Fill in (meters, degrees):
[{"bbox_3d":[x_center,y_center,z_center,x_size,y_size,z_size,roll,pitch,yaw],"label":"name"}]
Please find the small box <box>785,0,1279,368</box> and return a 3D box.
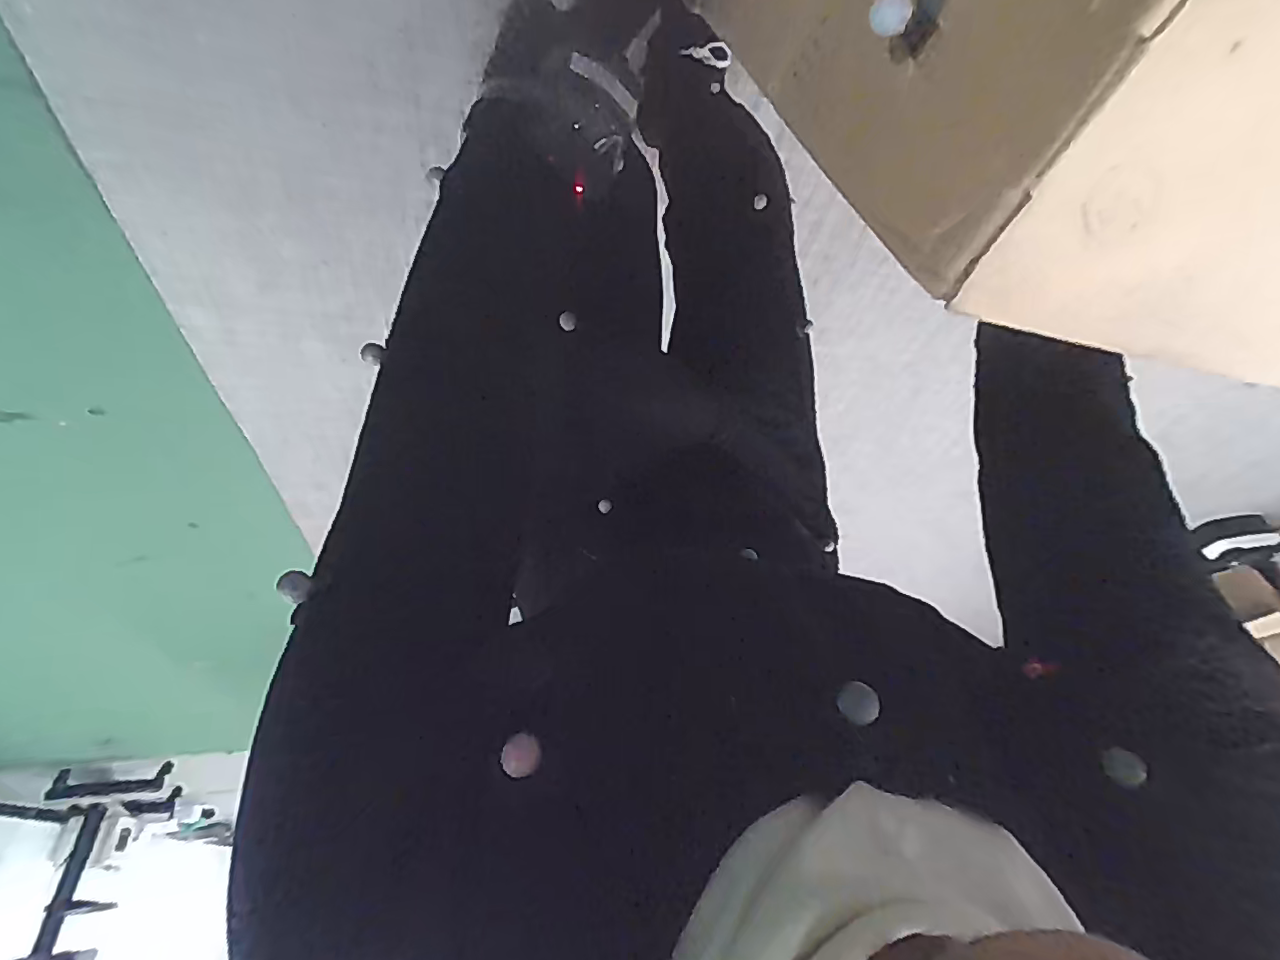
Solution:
[{"bbox_3d":[0.169,-0.158,0.159,0.179,0.176,0.168,3,141,-16],"label":"small box"}]
